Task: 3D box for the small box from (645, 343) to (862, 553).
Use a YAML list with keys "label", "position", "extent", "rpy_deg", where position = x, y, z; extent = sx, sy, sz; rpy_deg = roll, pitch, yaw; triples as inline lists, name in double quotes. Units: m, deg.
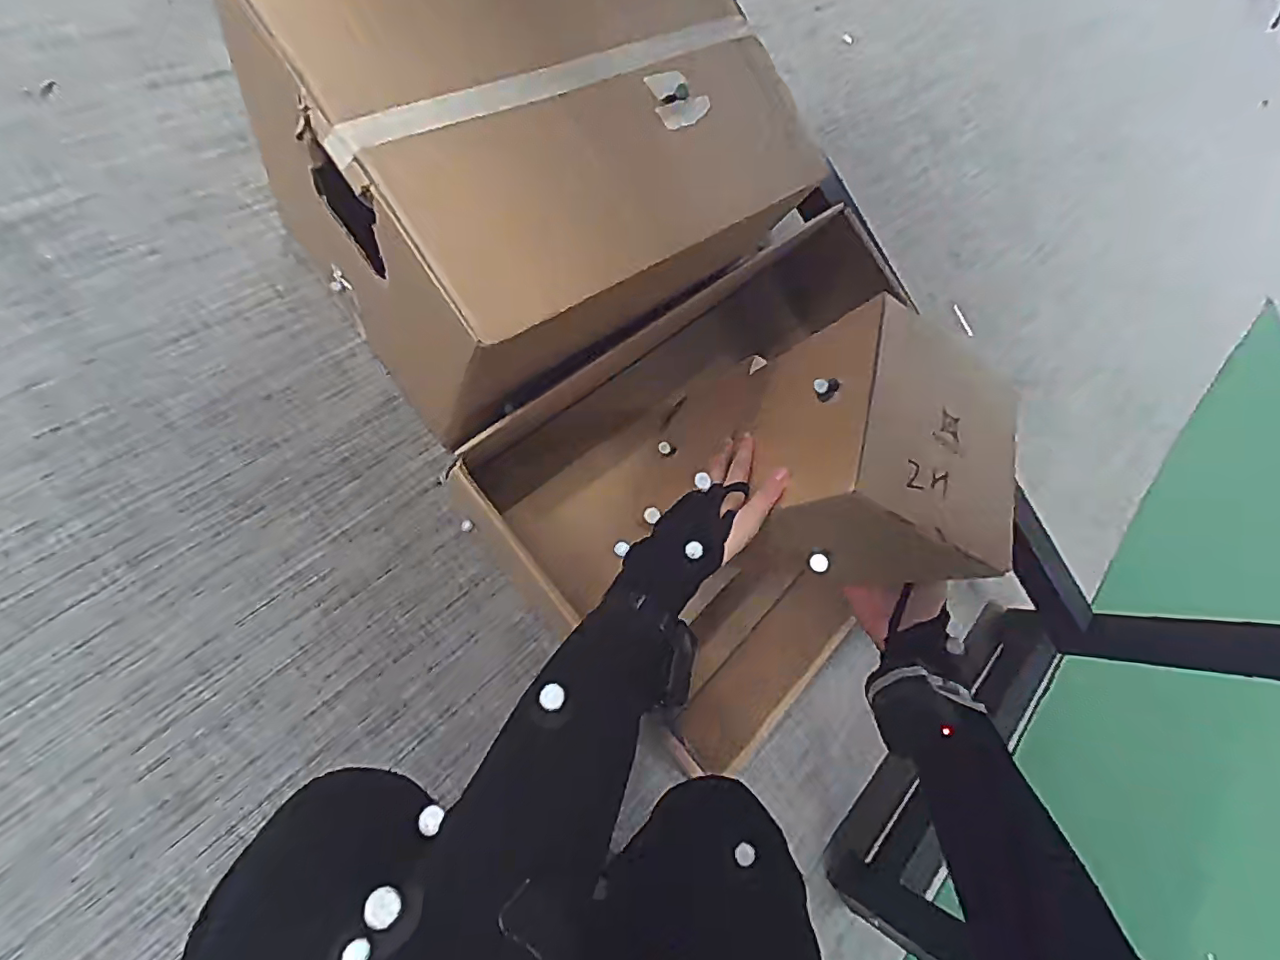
- label: "small box"
  position: [0.124, -0.022, 0.638]
  extent: [0.168, 0.176, 0.179]
  rpy_deg: [26, 70, -19]
